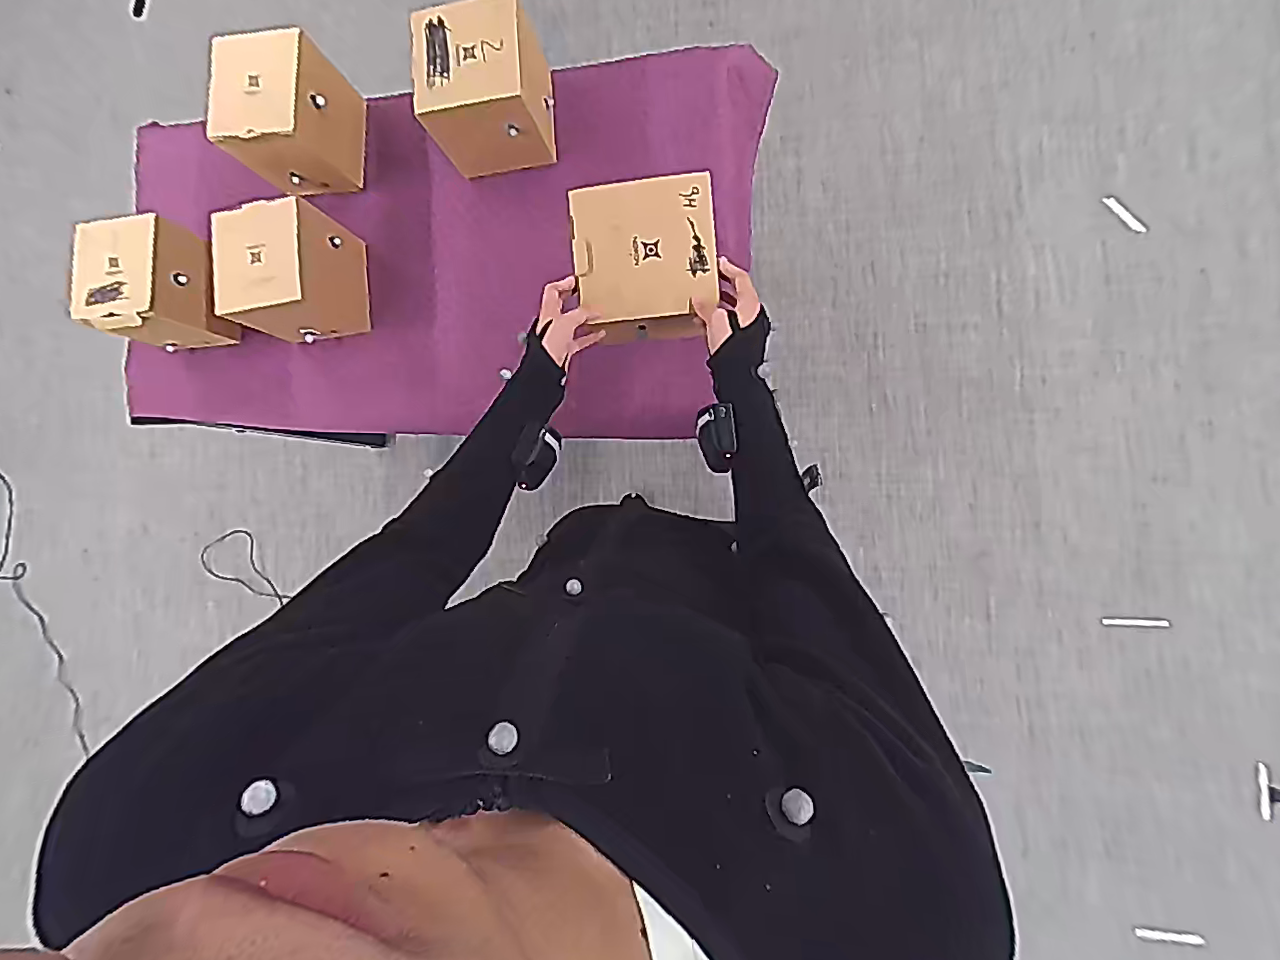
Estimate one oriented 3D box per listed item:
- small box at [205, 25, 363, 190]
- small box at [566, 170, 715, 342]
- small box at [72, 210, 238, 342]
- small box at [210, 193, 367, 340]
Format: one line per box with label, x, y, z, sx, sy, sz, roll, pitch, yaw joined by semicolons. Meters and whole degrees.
small box;-0.618;-0.646;0.957;0.168;0.176;0.179;2;89;9
small box;0.009;-0.289;0.737;0.179;0.176;0.168;-4;95;6
small box;-0.878;-0.361;0.994;0.168;0.176;0.179;-2;86;9
small box;-0.607;-0.364;0.950;0.168;0.176;0.179;-5;87;10
